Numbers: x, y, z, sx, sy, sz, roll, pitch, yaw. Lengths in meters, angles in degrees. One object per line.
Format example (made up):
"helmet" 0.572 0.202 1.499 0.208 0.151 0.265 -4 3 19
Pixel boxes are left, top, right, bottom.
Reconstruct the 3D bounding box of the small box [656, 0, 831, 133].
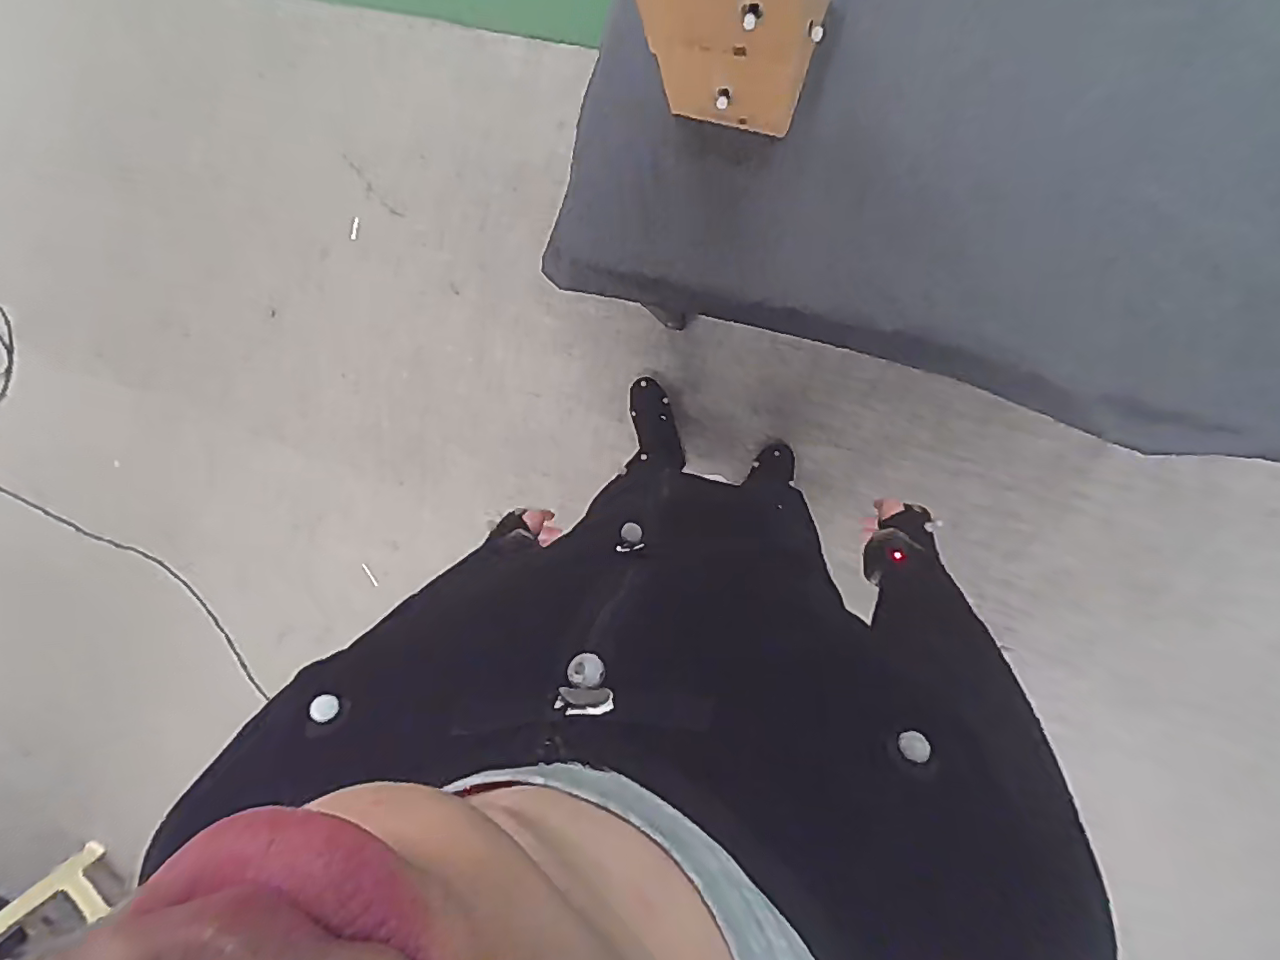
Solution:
"small box" 0.133 -0.558 0.650 0.168 0.176 0.179 19 101 8

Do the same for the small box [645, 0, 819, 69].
"small box" 0.097 -0.524 0.495 0.168 0.176 0.179 16 99 8
